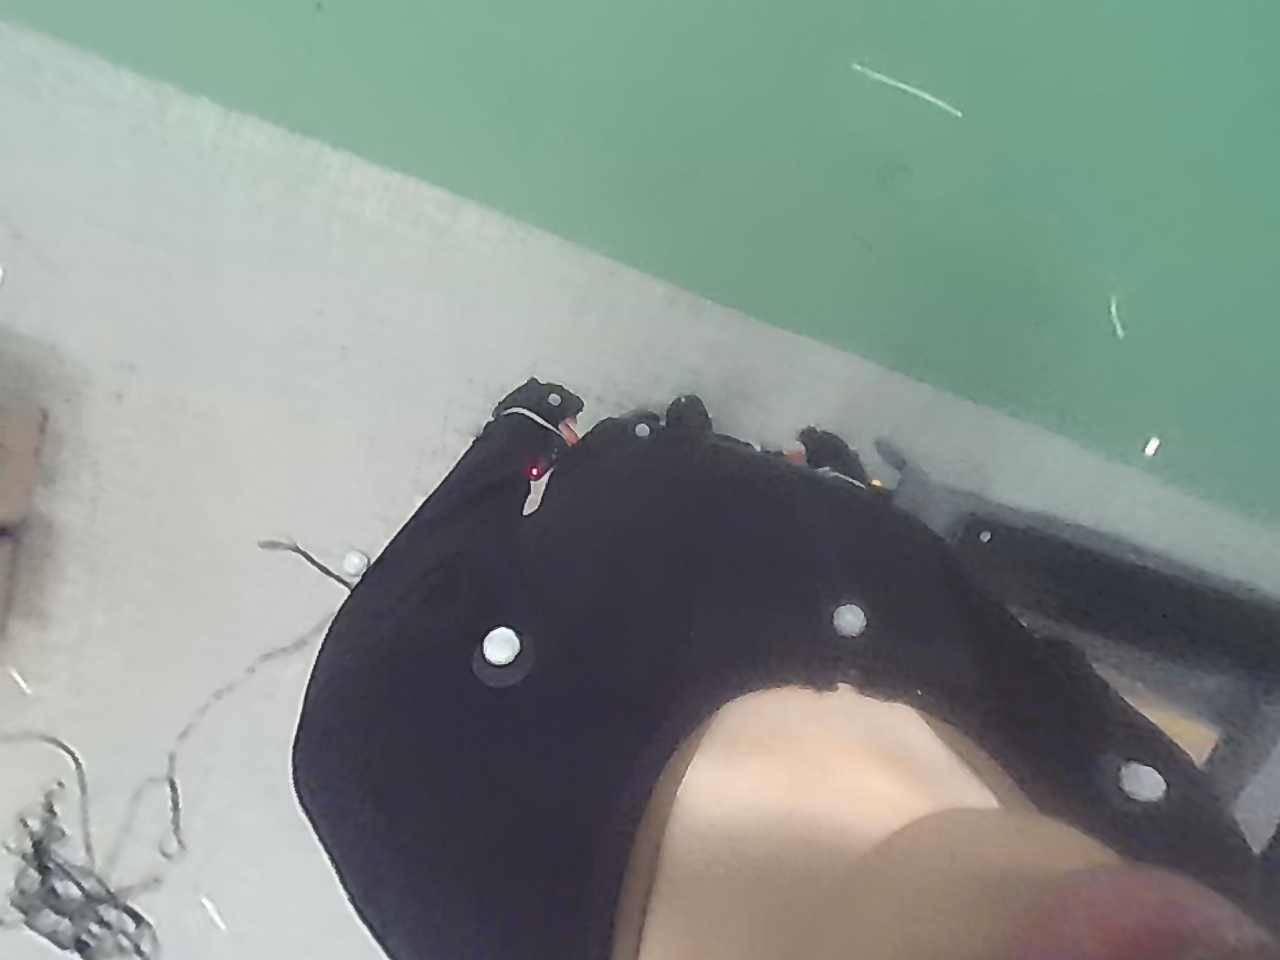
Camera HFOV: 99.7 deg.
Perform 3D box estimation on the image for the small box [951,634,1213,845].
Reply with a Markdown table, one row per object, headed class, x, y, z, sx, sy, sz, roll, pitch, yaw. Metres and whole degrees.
| class | x | y | z | sx | sy | sz | roll | pitch | yaw |
| --- | --- | --- | --- | --- | --- | --- | --- | --- | --- |
| small box | 0.567 | 0.330 | 0.720 | 0.179 | 0.176 | 0.168 | 20 | 96 | -4 |
